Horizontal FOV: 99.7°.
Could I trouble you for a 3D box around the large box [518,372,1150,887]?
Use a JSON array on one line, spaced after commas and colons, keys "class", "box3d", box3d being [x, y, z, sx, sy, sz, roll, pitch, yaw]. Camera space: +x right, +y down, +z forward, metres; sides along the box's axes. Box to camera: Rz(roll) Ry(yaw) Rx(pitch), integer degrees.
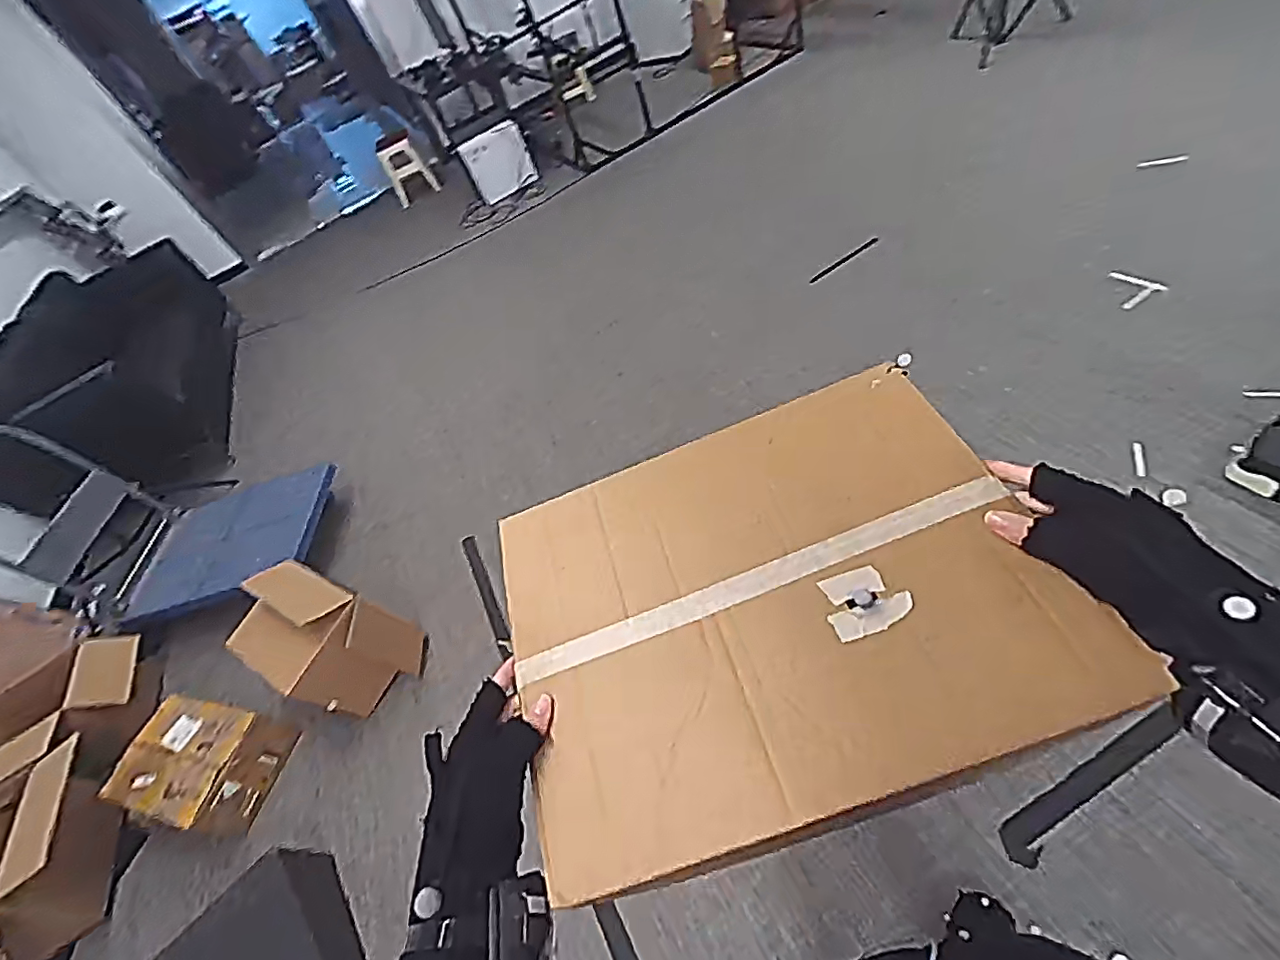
[{"class": "large box", "box3d": [0.139, 0.165, 0.555, 0.408, 0.320, 0.320, -22, 53, 3]}]
